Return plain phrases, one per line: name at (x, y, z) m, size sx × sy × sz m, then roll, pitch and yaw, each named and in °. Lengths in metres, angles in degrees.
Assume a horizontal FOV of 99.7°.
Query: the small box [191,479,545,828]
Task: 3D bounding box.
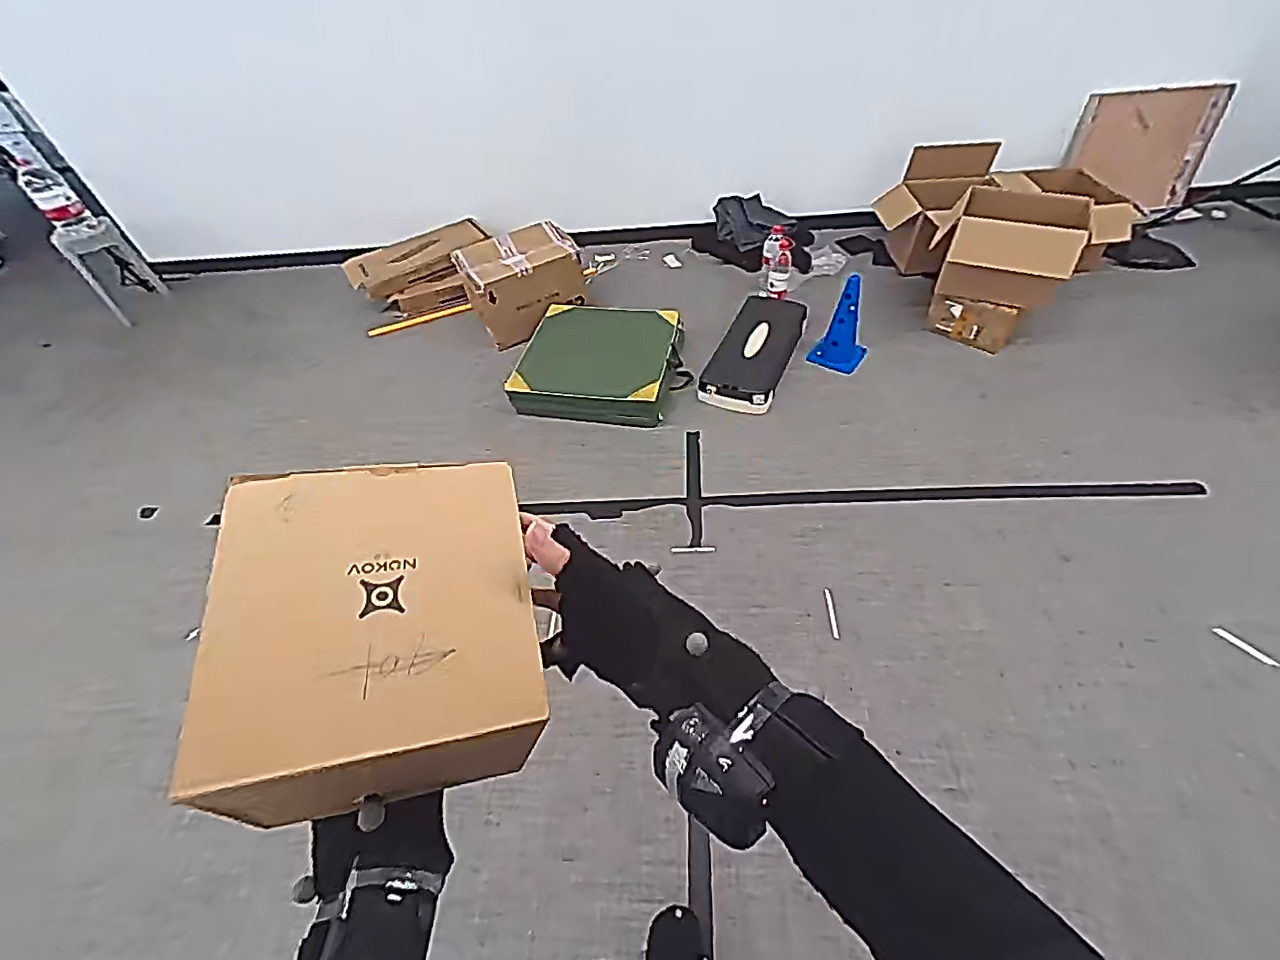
small box at (-0.169, 0.119, 0.380) m, size 0.168 × 0.176 × 0.179 m, roll -4°, pitch 56°, yaw -20°
